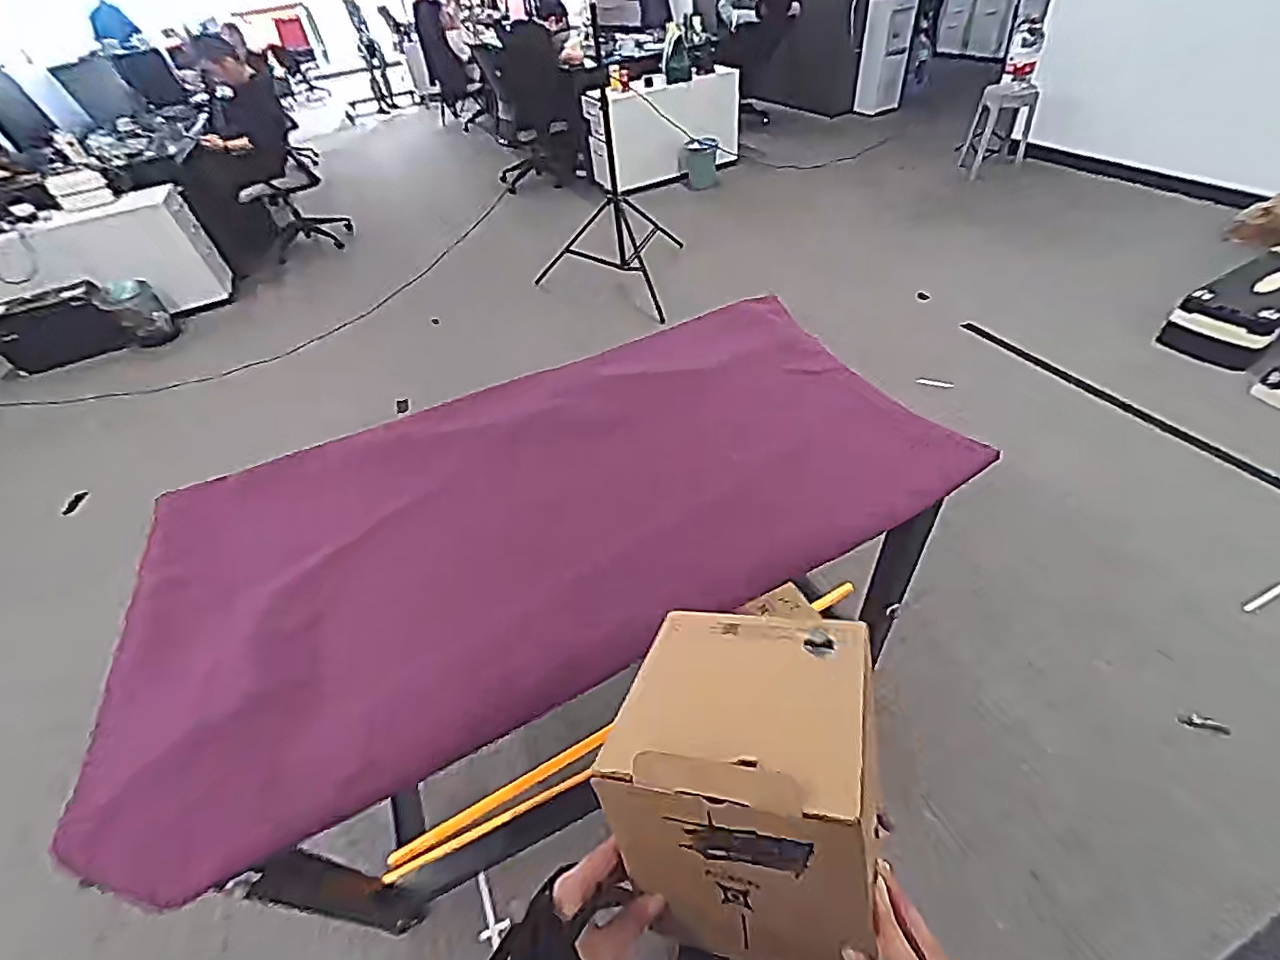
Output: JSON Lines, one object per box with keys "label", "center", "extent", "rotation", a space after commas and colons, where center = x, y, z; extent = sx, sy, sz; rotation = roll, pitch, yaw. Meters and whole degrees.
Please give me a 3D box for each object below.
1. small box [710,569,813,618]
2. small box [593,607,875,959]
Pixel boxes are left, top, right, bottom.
{"label": "small box", "center": [0.278, 0.345, 1.250], "extent": [0.179, 0.176, 0.168], "rotation": [-24, 48, -14]}
{"label": "small box", "center": [0.087, 0.217, 0.421], "extent": [0.168, 0.179, 0.176], "rotation": [-4, 25, 24]}
